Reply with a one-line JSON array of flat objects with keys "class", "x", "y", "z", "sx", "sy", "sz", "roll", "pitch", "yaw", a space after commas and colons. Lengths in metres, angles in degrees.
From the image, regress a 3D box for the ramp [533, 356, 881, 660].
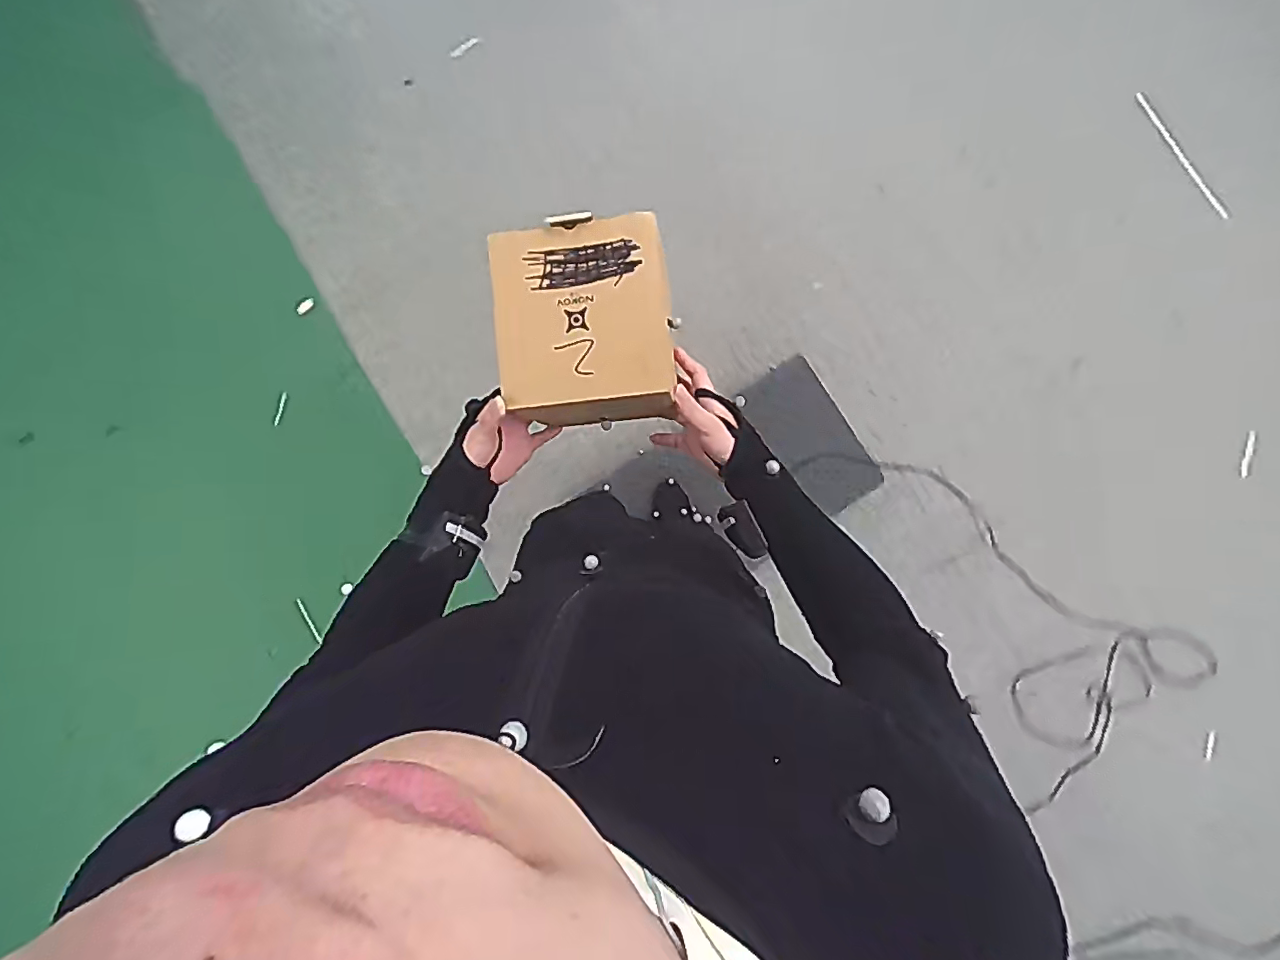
[{"class": "ramp", "x": 0.217, "y": 0.066, "z": 1.668, "sx": 0.991, "sy": 0.206, "sz": 0.509, "roll": -35, "pitch": 87, "yaw": 5}]
